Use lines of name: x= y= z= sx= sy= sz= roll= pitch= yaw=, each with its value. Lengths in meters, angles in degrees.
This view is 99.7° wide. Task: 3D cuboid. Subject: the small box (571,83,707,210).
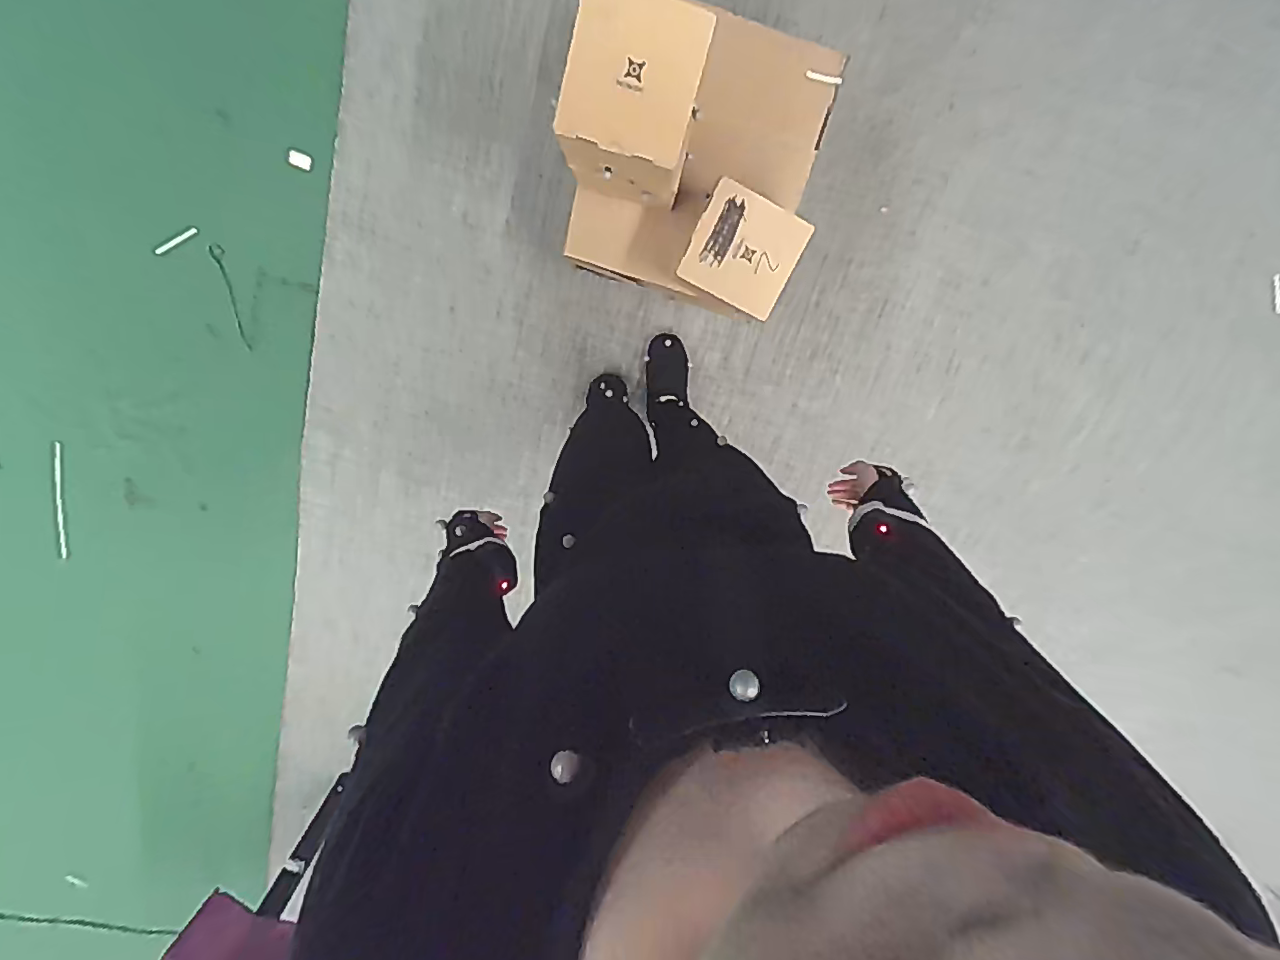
small box: x=-0.003 y=-0.568 z=0.902 sx=0.179 sy=0.176 sz=0.168 roll=14 pitch=106 yaw=-4

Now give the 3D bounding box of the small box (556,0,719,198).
small box: x=-0.007 y=-0.520 z=0.747 sx=0.168 sy=0.176 sz=0.179 roll=16 pitch=107 yaw=-5
